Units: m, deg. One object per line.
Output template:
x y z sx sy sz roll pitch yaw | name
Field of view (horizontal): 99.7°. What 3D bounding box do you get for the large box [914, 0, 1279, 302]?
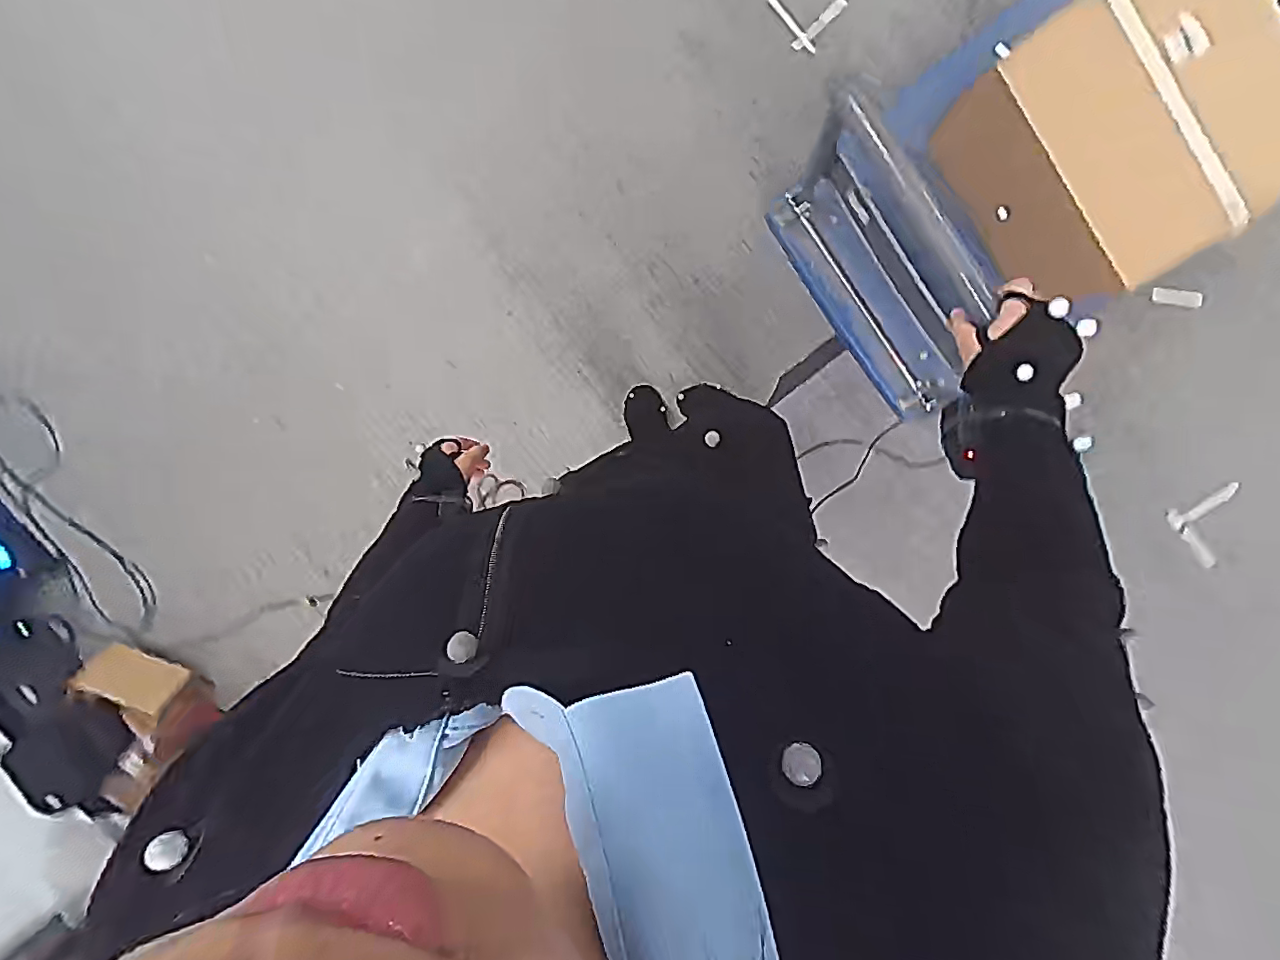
0.772 -0.585 0.951 0.320 0.320 0.408 -35 94 13 | large box
